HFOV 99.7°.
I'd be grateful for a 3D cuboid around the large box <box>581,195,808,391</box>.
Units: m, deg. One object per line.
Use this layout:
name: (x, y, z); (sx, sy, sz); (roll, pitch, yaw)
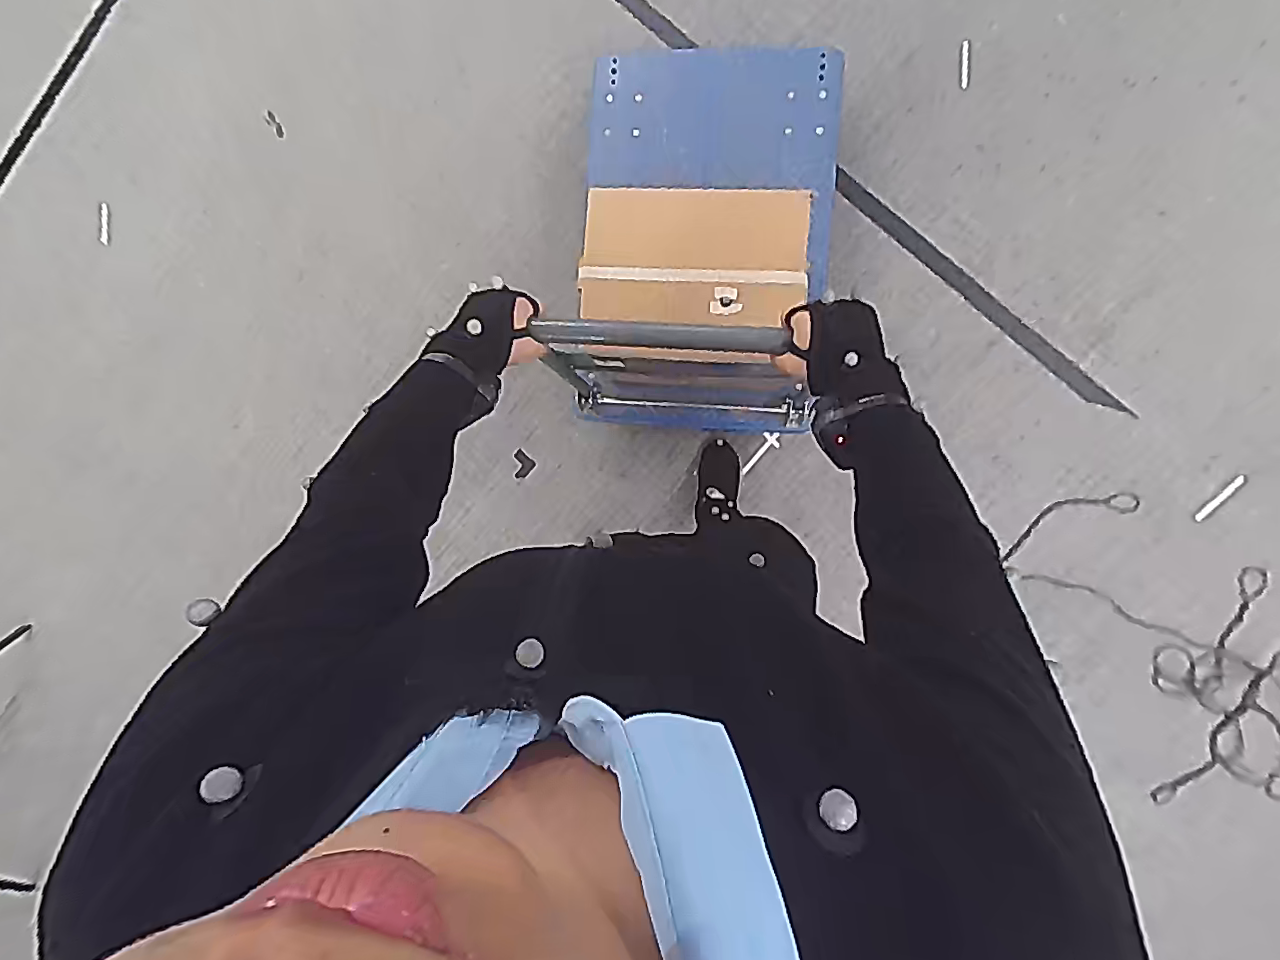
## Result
large box: (0.108, -0.367, 1.132); (0.408, 0.320, 0.320); (5, 93, 6)
